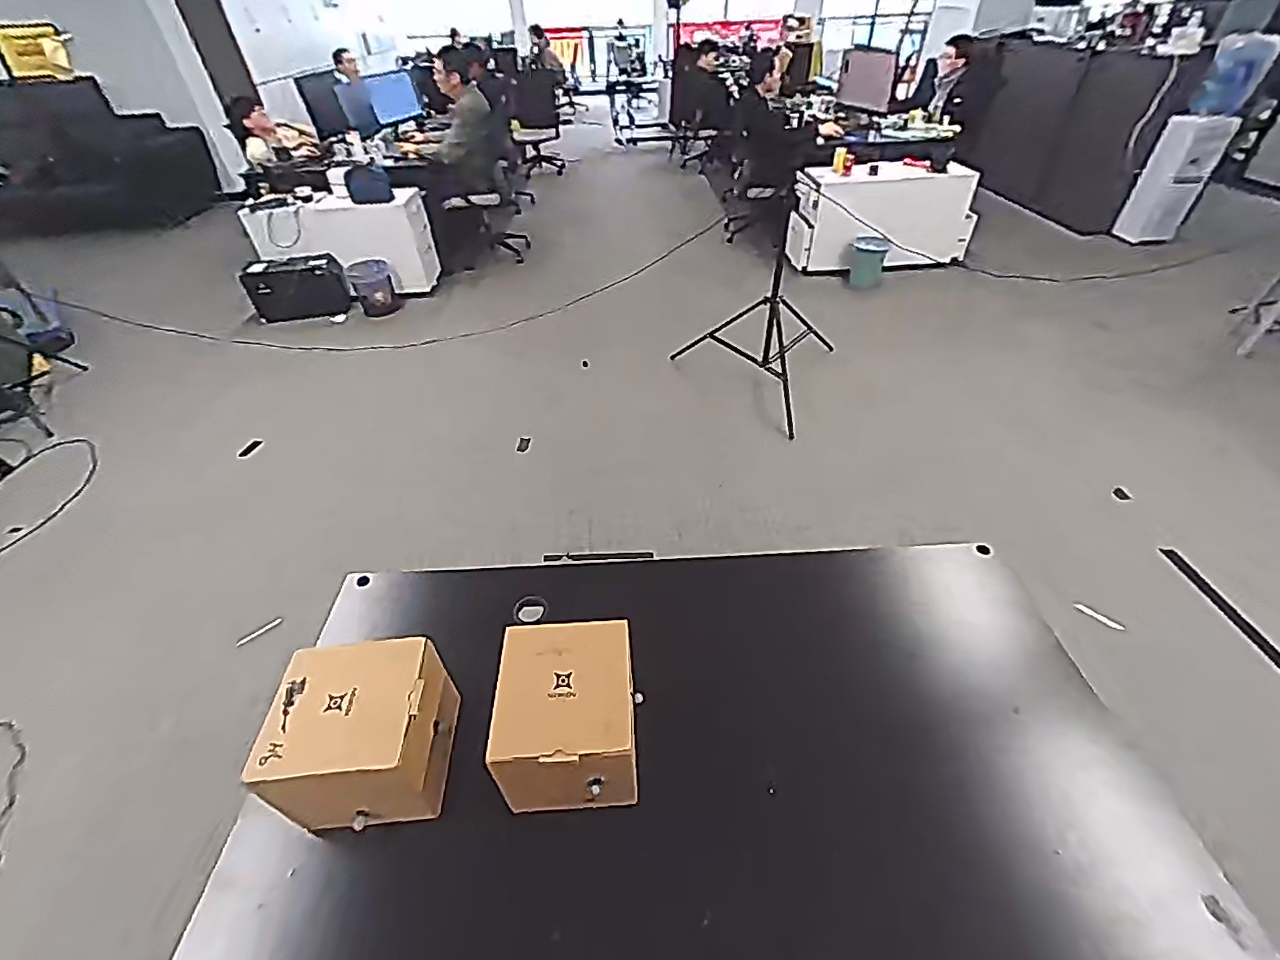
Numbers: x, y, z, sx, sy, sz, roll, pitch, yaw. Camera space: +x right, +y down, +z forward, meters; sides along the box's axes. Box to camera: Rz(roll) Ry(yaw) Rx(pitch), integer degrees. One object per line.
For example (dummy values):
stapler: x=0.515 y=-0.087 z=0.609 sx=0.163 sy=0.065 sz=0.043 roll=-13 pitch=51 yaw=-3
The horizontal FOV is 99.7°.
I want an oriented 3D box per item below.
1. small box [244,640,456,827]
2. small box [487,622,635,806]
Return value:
small box: x=-0.354 y=0.331 z=0.707 sx=0.179 sy=0.176 sz=0.168 roll=-3 pitch=41 yaw=-4
small box: x=-0.092 y=0.313 z=0.719 sx=0.168 sy=0.176 sz=0.179 roll=-2 pitch=41 yaw=-2
